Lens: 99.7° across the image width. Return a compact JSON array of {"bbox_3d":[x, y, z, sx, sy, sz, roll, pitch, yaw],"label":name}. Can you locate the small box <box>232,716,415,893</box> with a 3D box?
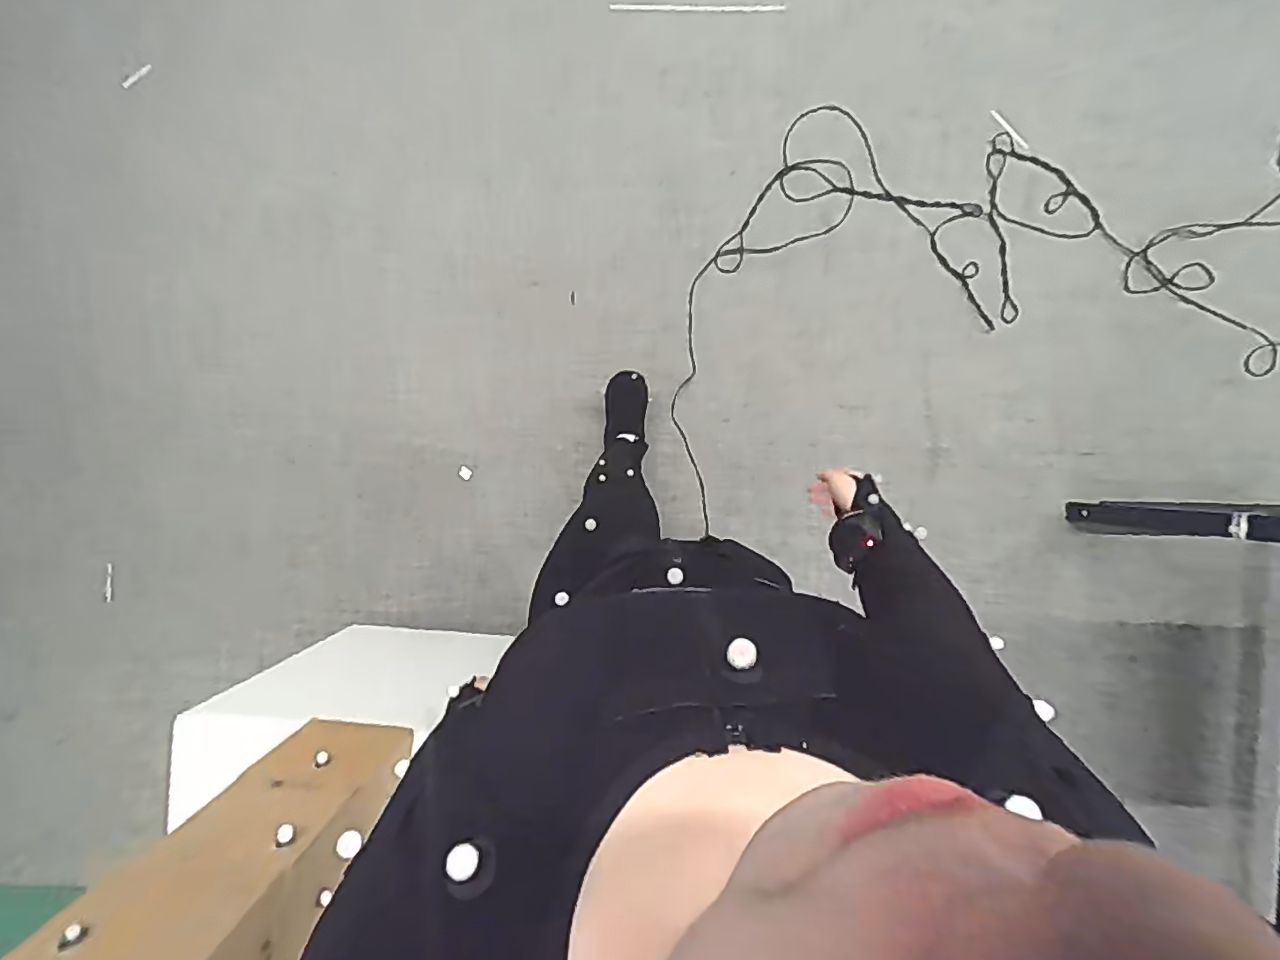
[{"bbox_3d":[-0.474,0.483,0.832,0.179,0.176,0.168,6,92,1],"label":"small box"}]
